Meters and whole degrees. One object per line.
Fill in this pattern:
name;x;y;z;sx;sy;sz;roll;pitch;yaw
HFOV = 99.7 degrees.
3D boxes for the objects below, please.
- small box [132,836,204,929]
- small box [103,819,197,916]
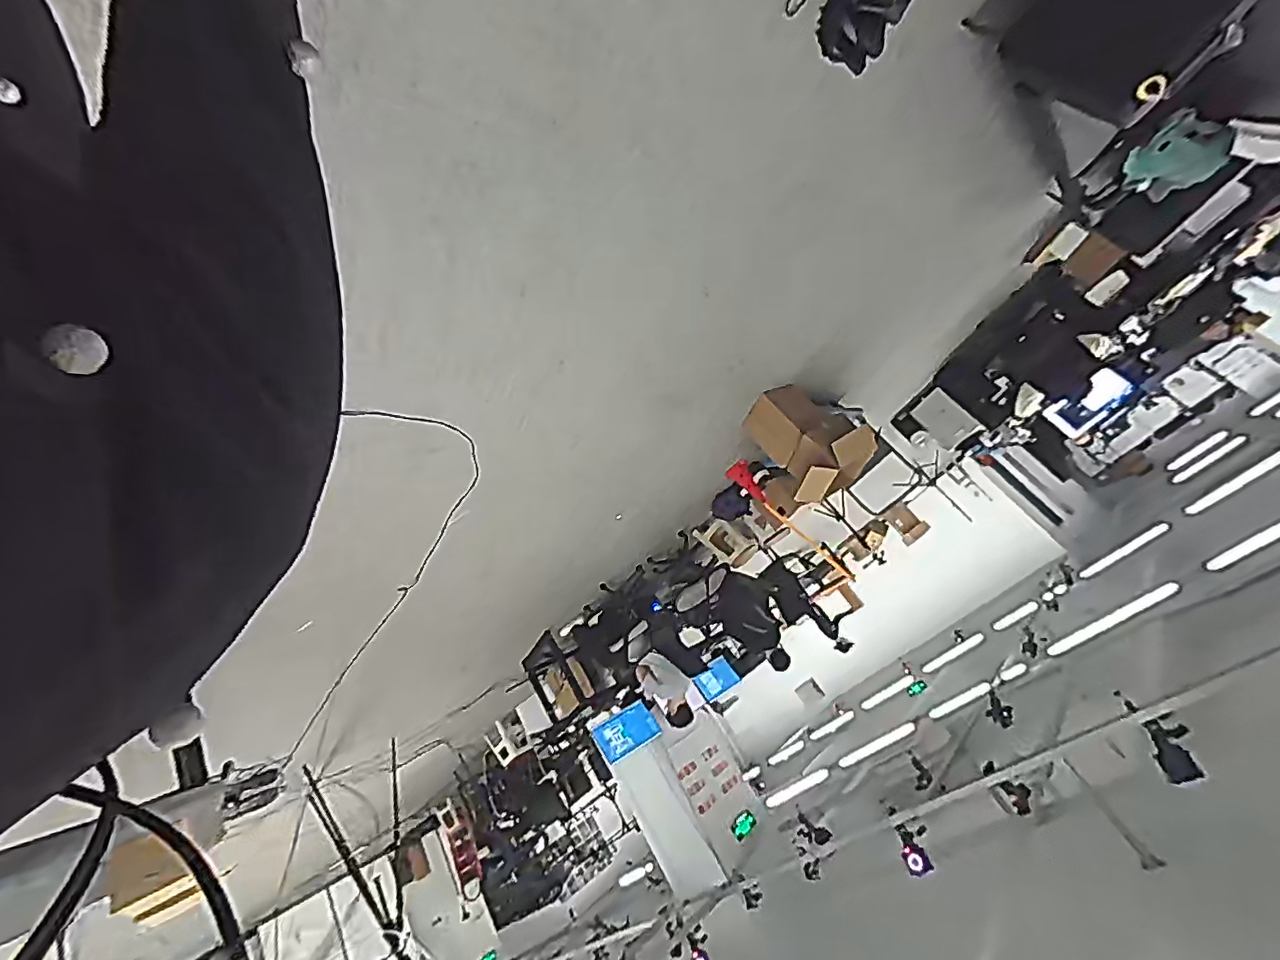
small box;-1.590;1.345;1.813;0.179;0.176;0.168;-8;143;-45
small box;-1.478;1.165;1.635;0.179;0.176;0.168;-14;148;-37
